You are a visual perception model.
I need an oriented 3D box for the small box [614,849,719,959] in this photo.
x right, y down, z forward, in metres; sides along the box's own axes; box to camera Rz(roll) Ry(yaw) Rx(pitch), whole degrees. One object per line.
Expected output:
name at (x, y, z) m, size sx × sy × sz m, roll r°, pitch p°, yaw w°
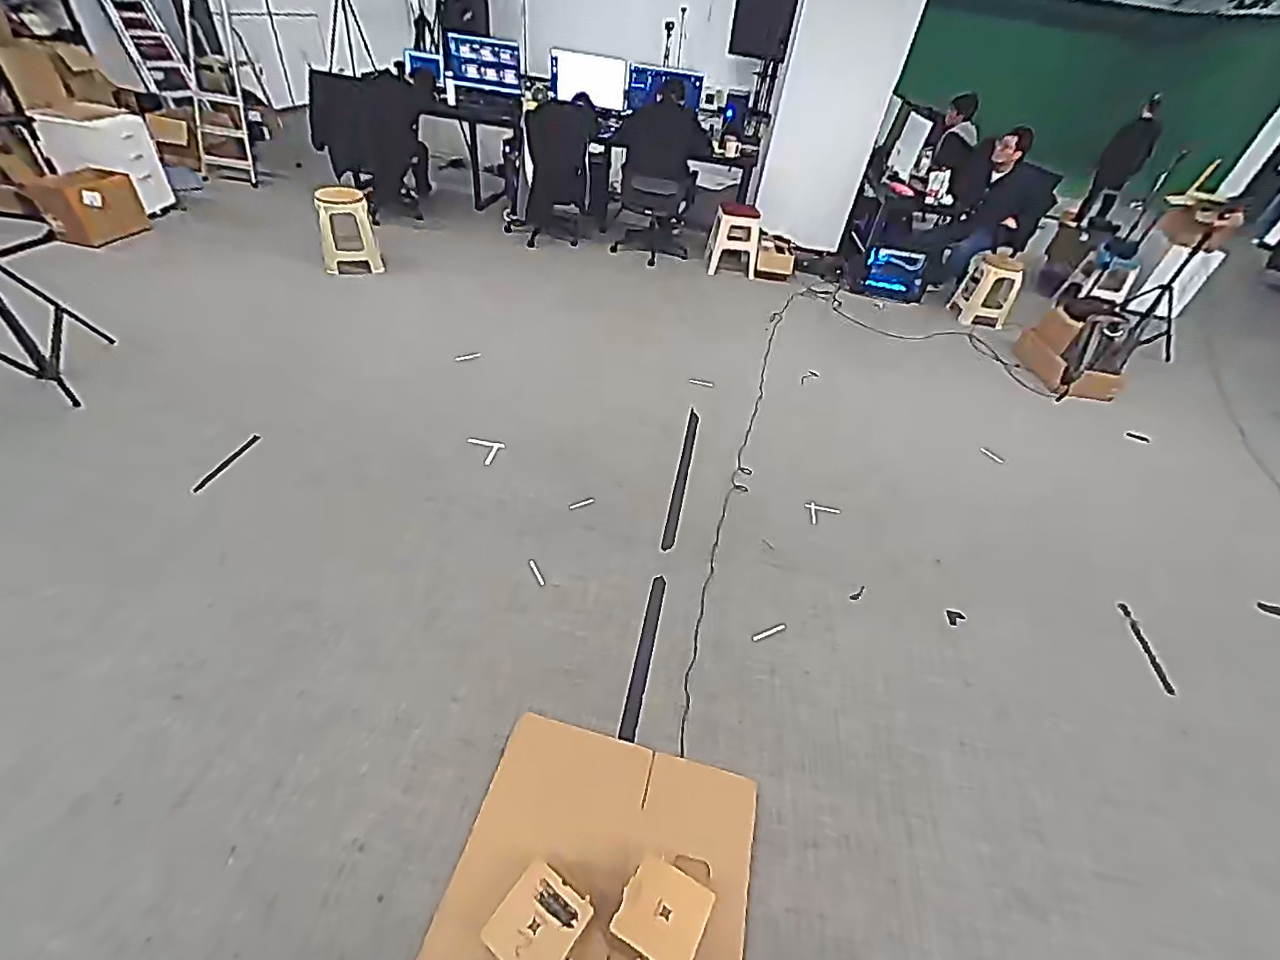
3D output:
small box at (0.057, 0.976, 1.206) m, size 0.179 × 0.176 × 0.168 m, roll 22°, pitch 45°, yaw 20°
